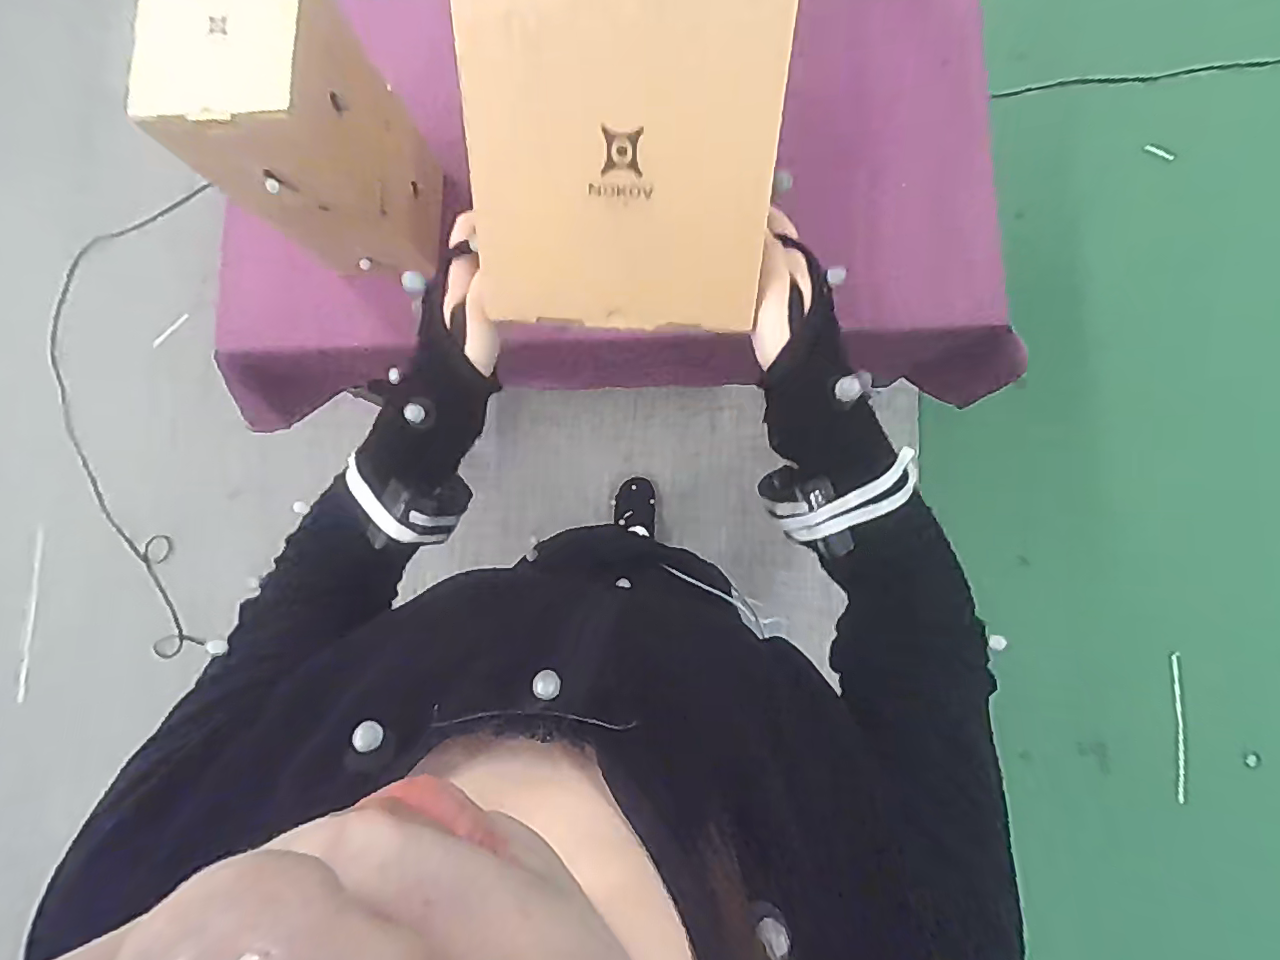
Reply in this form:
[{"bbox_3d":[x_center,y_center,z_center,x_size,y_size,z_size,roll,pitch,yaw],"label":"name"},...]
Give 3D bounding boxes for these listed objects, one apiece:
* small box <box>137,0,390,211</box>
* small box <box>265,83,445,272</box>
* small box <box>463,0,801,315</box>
[{"bbox_3d":[-0.403,-0.428,0.609,0.168,0.176,0.179,1,85,2],"label":"small box"},{"bbox_3d":[-0.391,-0.421,0.773,0.168,0.176,0.179,1,85,3],"label":"small box"},{"bbox_3d":[-0.005,-0.221,0.357,0.168,0.176,0.179,3,122,1],"label":"small box"}]
